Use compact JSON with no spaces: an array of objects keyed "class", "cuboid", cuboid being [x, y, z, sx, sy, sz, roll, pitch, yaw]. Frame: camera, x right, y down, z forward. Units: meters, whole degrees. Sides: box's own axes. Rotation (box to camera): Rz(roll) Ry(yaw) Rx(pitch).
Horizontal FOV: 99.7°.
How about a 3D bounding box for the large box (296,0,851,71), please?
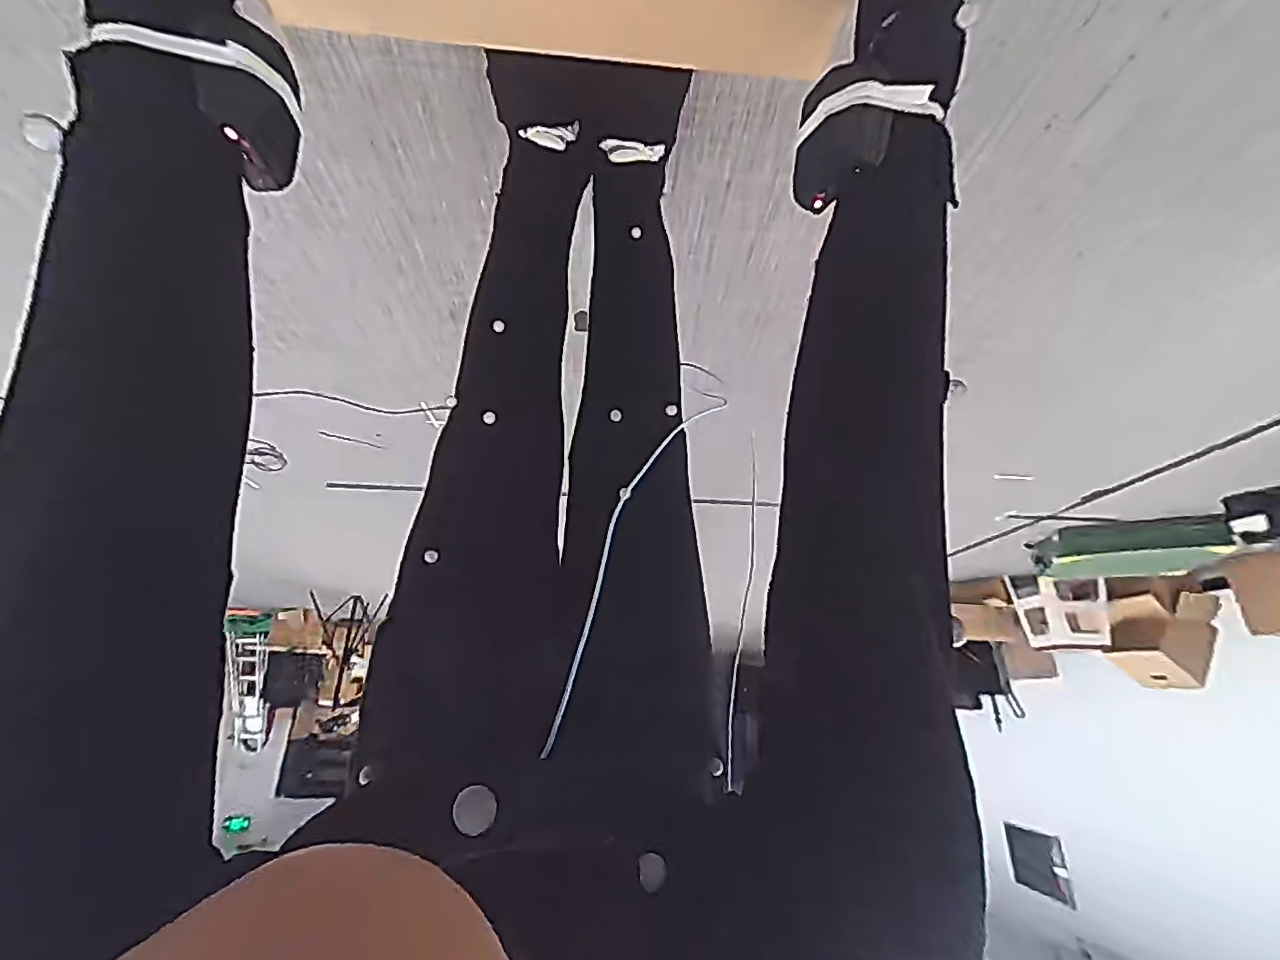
[{"class":"large box","cuboid":[-0.041,-0.525,0.335,0.408,0.320,0.320,2,158,-4]}]
